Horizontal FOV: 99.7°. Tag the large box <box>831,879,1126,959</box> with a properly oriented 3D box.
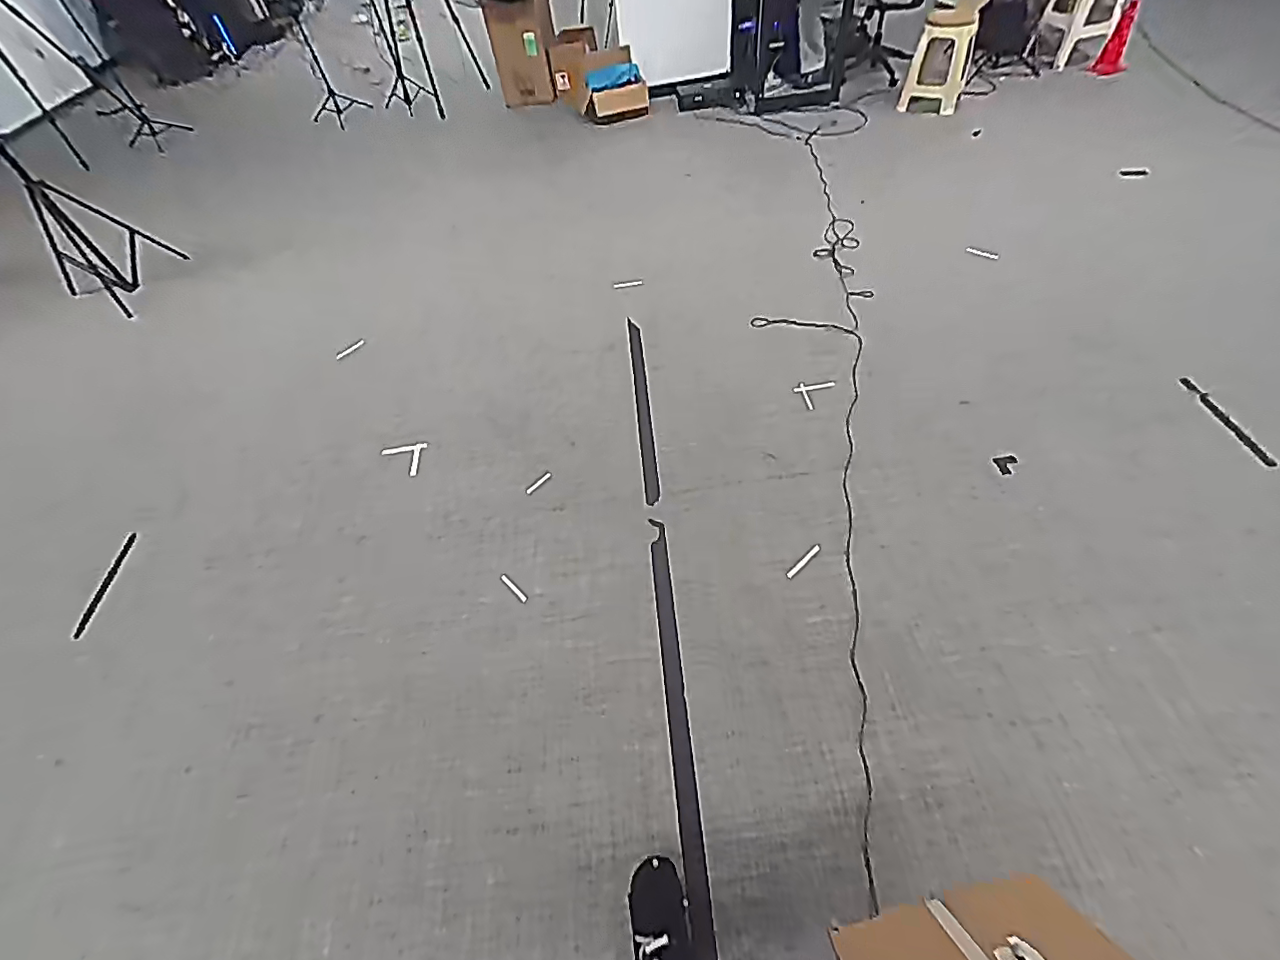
[{"bbox_3d":[0.458,0.734,0.569,0.320,0.408,0.320,-15,80,0],"label":"large box"}]
